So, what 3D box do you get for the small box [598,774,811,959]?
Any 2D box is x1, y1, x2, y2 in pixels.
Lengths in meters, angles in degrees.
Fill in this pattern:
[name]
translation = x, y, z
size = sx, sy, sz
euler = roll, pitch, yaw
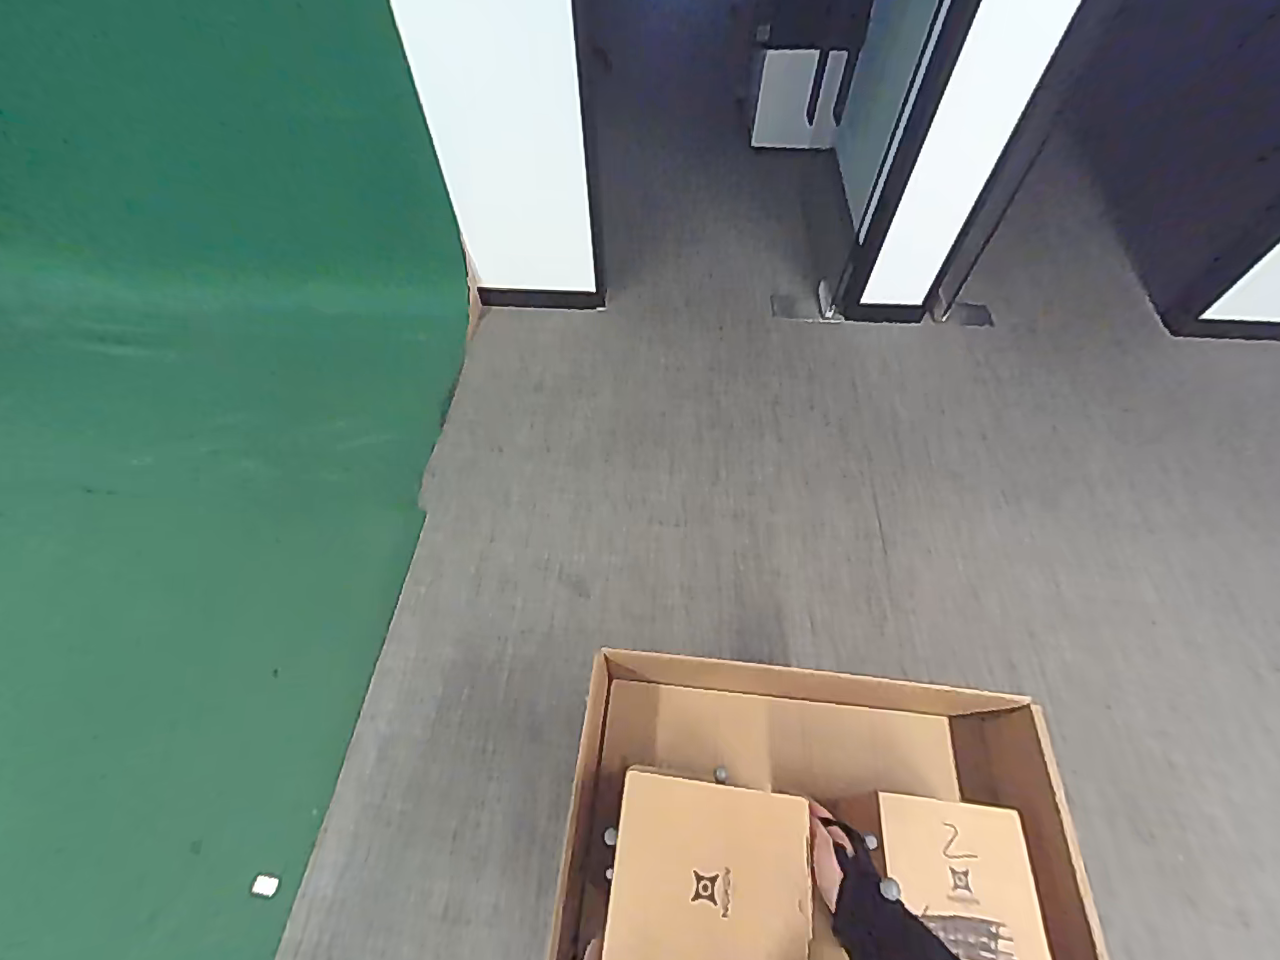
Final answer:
[small box]
translation = 0.060, 0.401, 0.536
size = 0.179, 0.176, 0.168
euler = 7, 60, 3
